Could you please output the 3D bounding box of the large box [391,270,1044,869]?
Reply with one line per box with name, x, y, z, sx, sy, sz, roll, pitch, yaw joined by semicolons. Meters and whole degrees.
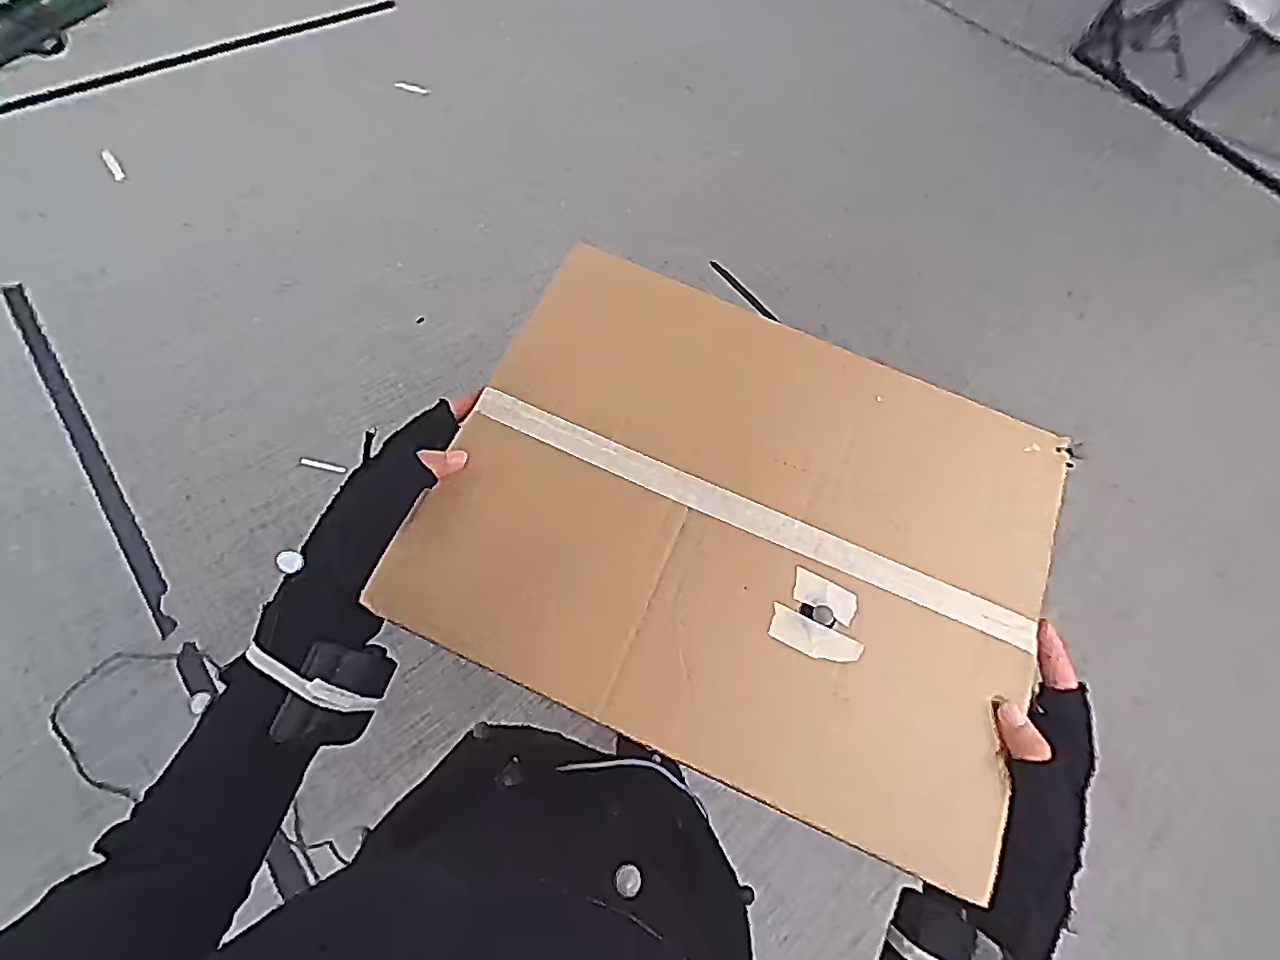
large box;0.064;0.077;0.526;0.408;0.320;0.320;24;72;4
